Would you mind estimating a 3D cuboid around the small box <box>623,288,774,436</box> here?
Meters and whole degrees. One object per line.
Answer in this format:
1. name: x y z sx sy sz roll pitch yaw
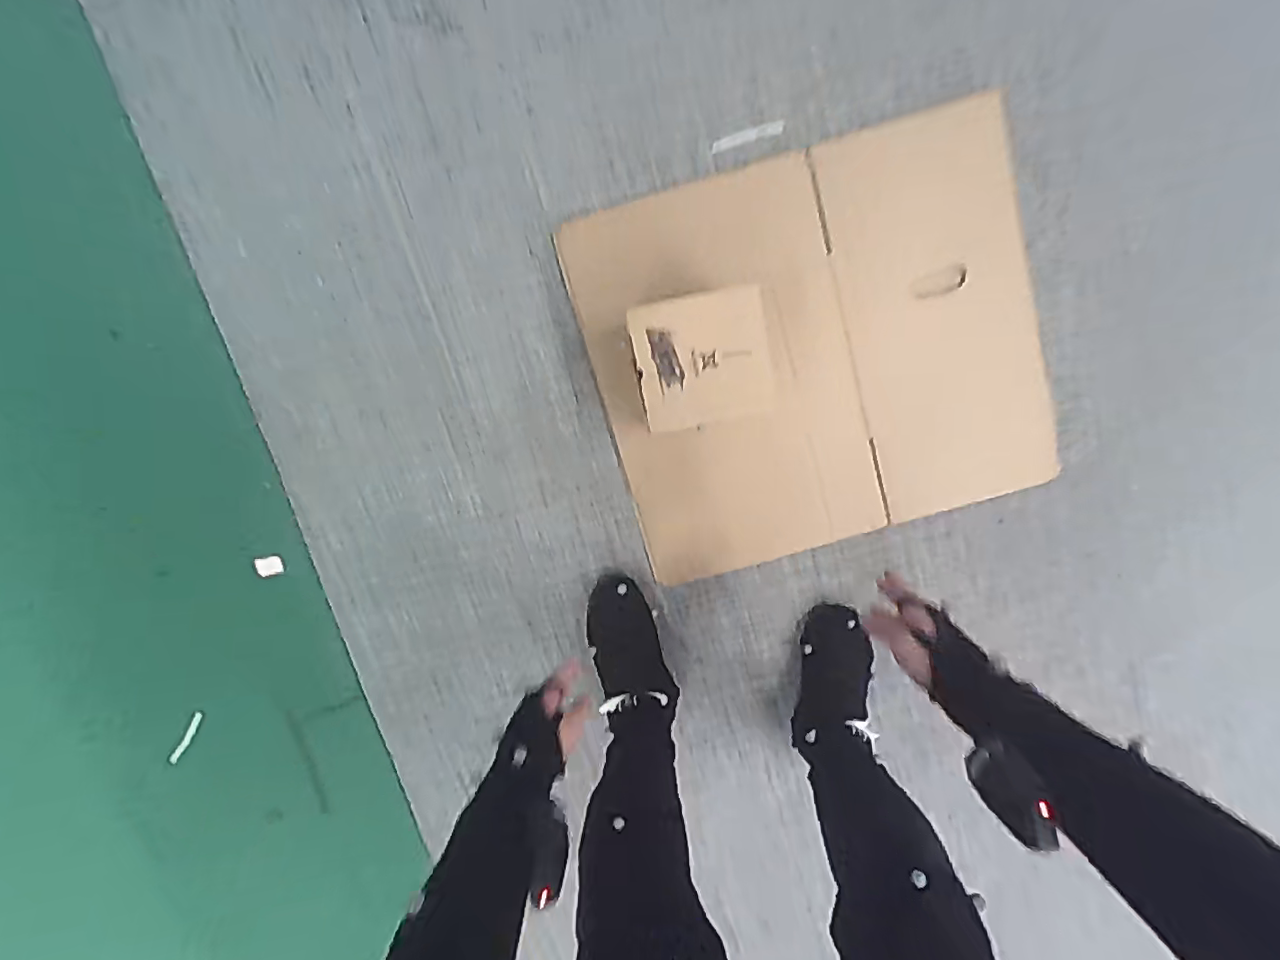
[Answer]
1. small box: 0.079 -0.164 0.786 0.179 0.176 0.168 -12 100 1
